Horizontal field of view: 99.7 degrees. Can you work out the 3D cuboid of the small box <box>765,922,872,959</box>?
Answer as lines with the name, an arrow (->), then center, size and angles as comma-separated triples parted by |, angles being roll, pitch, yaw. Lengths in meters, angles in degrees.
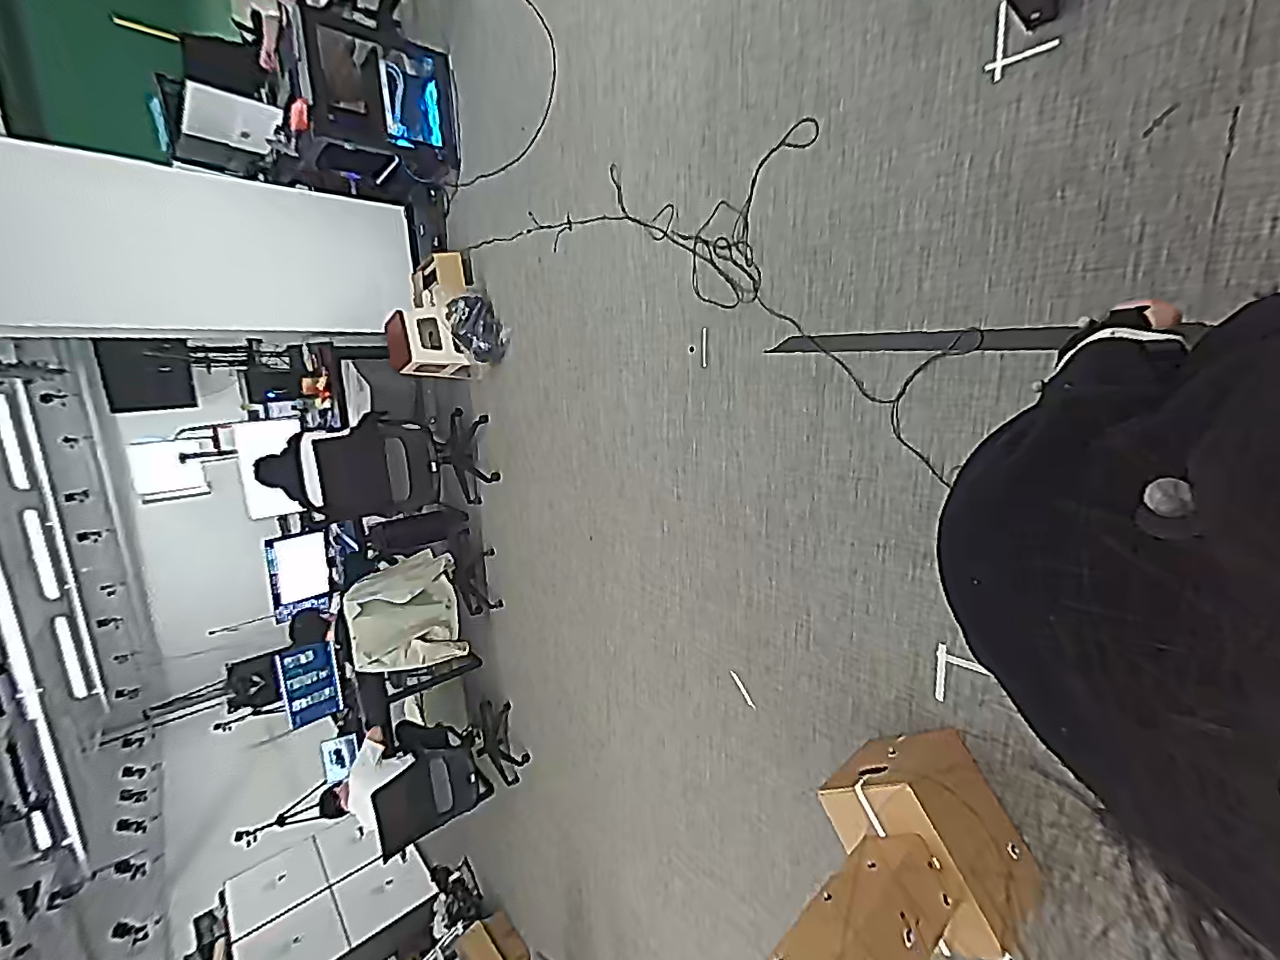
small box -> 0.375, 1.043, 1.093 | 0.179, 0.176, 0.168 | -42, 69, 46

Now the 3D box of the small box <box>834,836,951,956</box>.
small box -> 0.618, 0.993, 1.307 | 0.179, 0.176, 0.168 | -45, 66, 46

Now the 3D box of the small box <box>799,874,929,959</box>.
small box -> 0.498, 1.015, 1.200 | 0.179, 0.176, 0.168 | -40, 70, 46
